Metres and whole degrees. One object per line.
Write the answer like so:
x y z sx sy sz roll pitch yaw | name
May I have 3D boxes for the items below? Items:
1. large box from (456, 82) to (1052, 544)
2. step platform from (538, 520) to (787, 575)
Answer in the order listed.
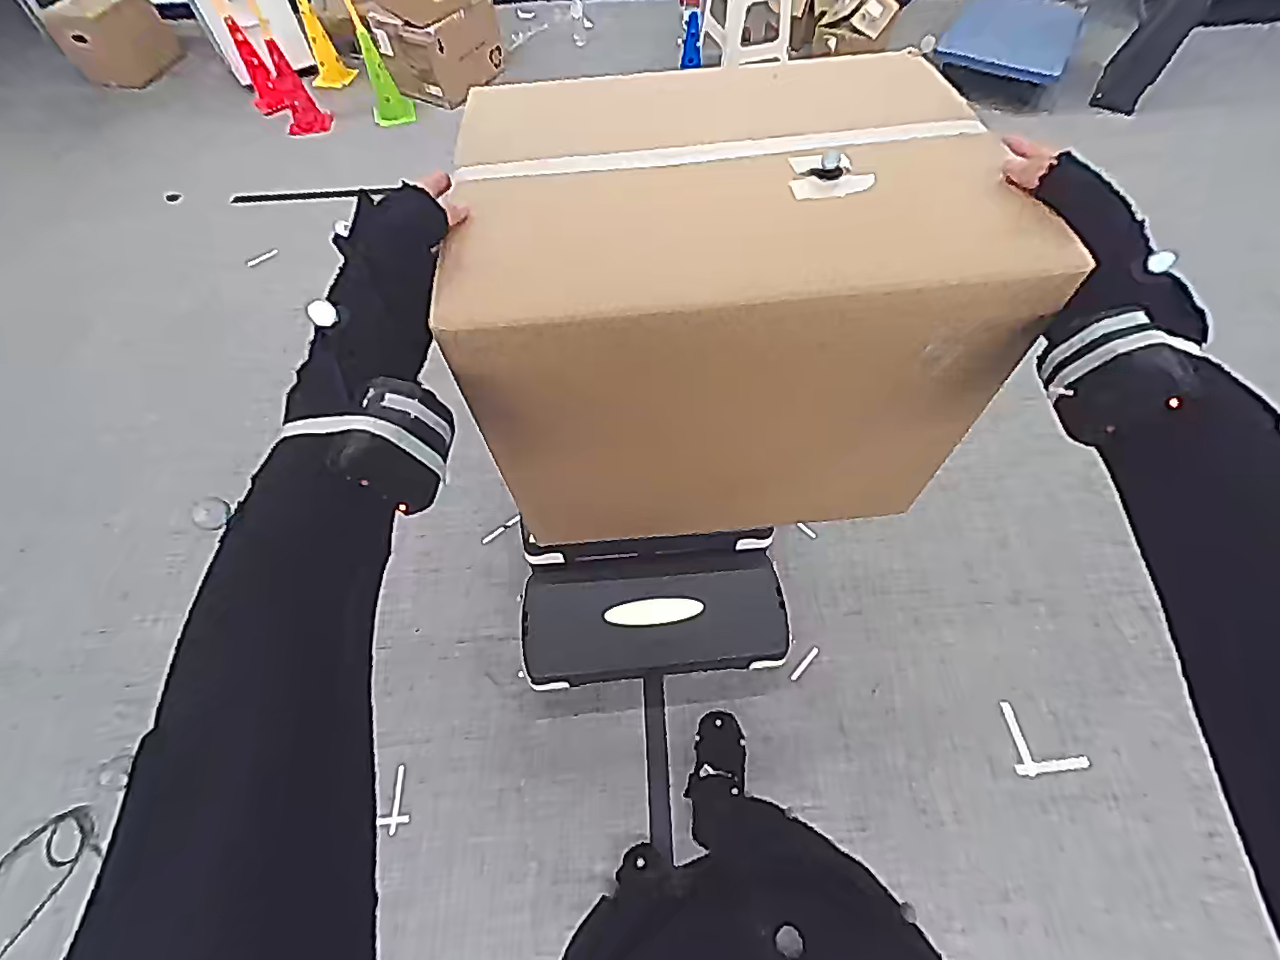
0.067 -0.153 0.555 0.408 0.320 0.320 -5 58 -1 | large box
0.055 0.076 1.512 0.684 0.204 0.286 -4 60 -2 | step platform
